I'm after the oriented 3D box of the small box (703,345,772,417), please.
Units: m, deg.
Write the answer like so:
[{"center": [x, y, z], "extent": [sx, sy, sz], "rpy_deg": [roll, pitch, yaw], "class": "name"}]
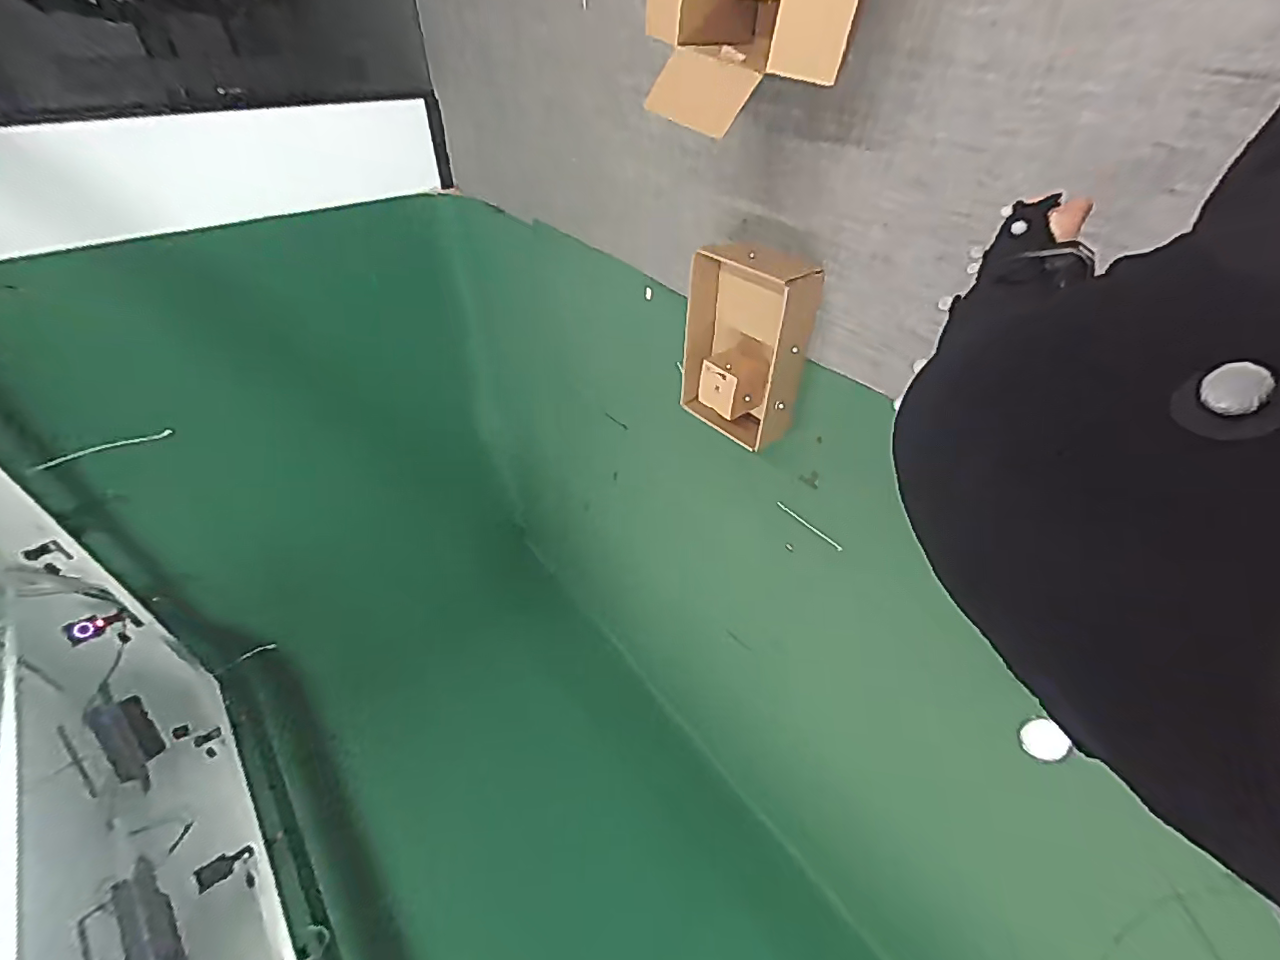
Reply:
[{"center": [0.350, -0.359, 1.940], "extent": [0.168, 0.176, 0.179], "rpy_deg": [41, 144, 35], "class": "small box"}]
